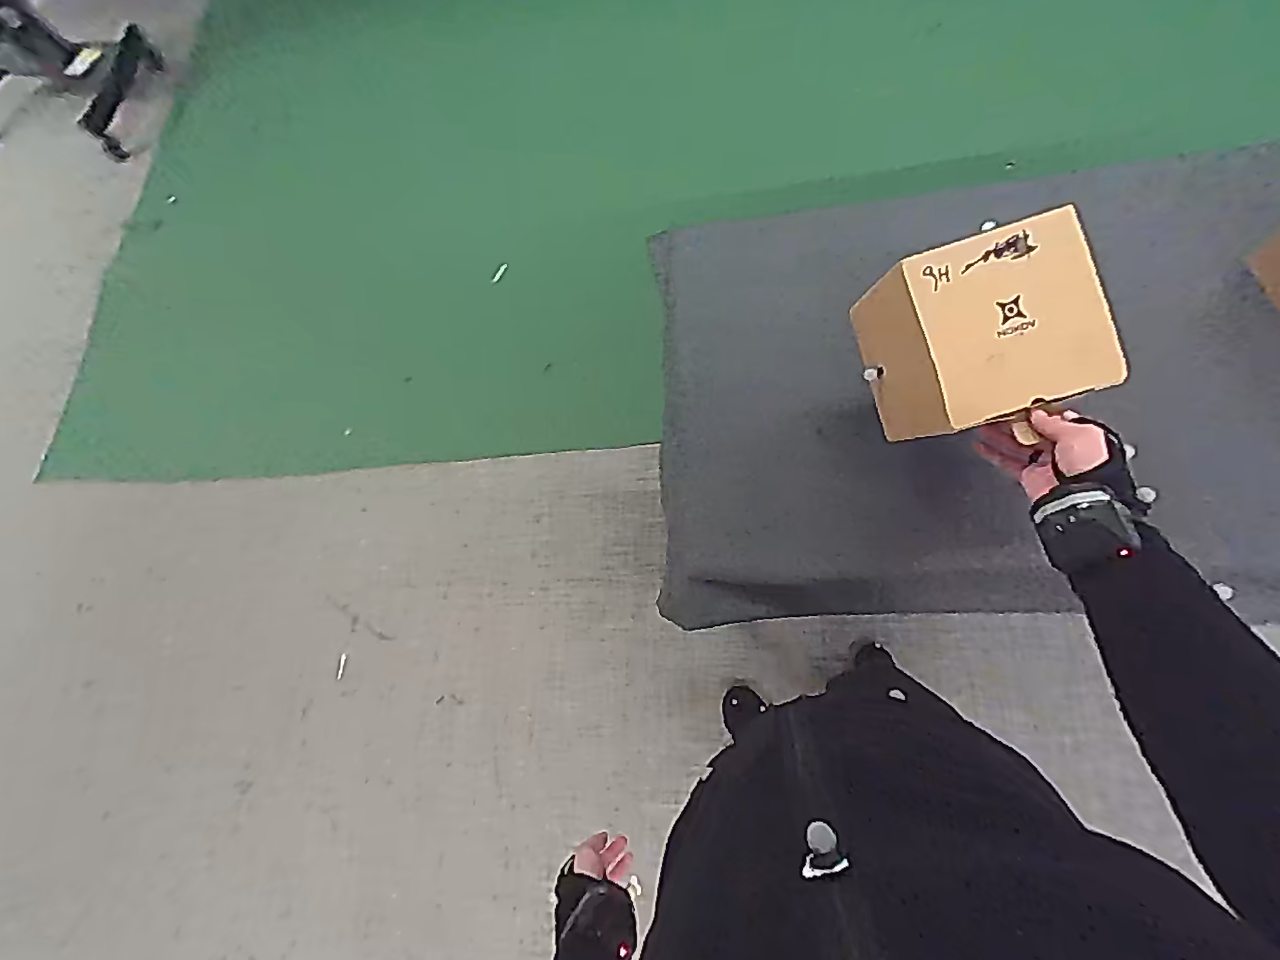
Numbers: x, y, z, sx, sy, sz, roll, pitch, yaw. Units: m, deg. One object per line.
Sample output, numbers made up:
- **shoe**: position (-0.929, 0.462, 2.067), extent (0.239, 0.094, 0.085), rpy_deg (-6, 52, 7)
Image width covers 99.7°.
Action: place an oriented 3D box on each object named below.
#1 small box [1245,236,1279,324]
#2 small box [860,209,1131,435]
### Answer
- **small box**: position (0.907, -0.258, 0.635), extent (0.168, 0.176, 0.179), rpy_deg (-12, 69, 6)
- **small box**: position (0.364, -0.151, 0.588), extent (0.168, 0.176, 0.179), rpy_deg (-16, 90, 4)
